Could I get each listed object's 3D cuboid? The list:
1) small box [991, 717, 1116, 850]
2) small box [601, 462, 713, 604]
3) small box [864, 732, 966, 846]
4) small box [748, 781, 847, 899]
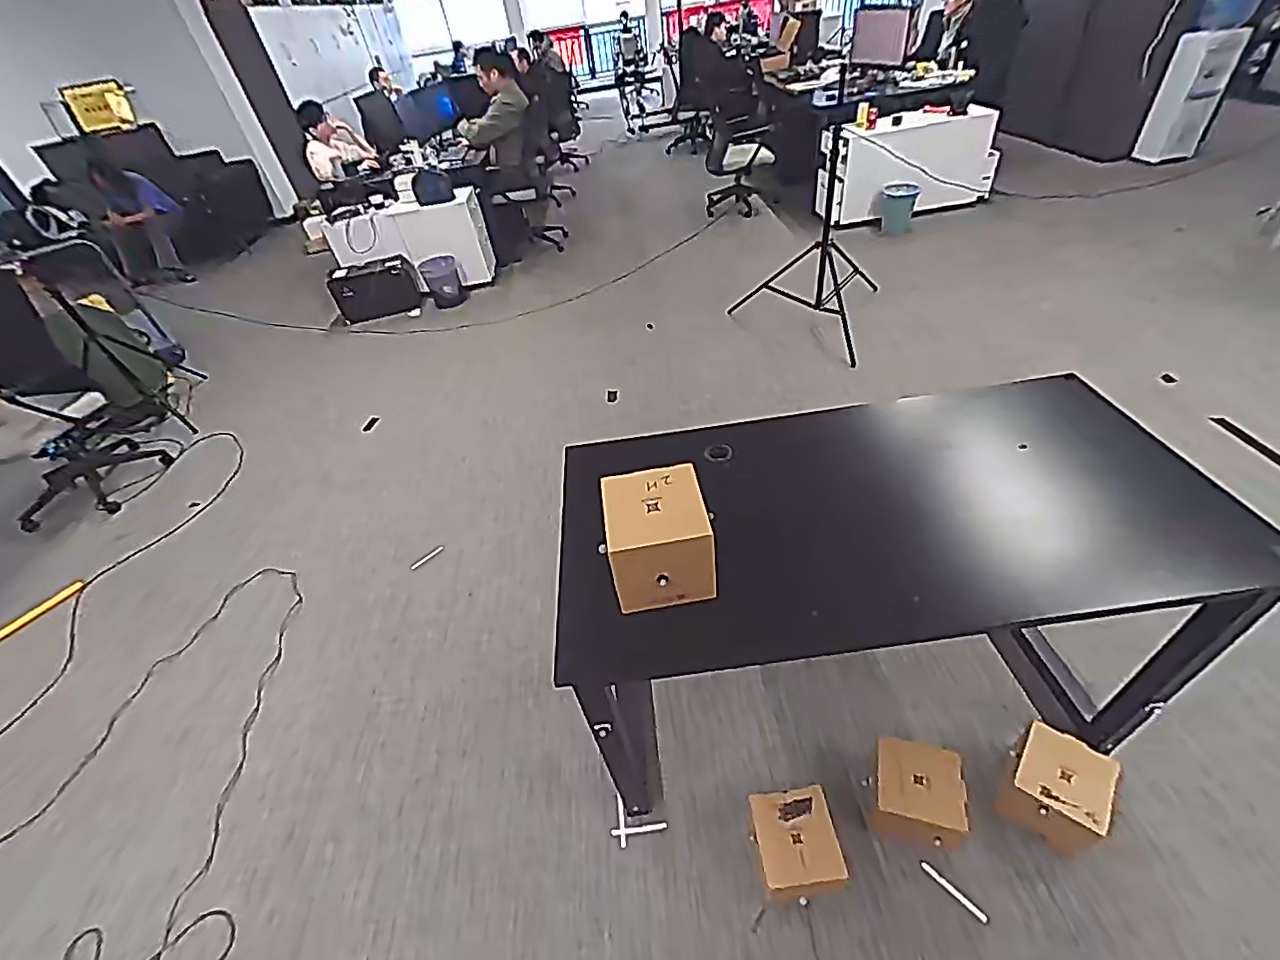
[{"bbox_3d":[0.925,0.684,1.220,0.168,0.176,0.179,24,53,32],"label":"small box"},{"bbox_3d":[0.030,0.098,0.943,0.168,0.176,0.179,-10,42,-1],"label":"small box"},{"bbox_3d":[0.625,0.716,1.248,0.179,0.176,0.168,5,44,18],"label":"small box"},{"bbox_3d":[0.339,0.803,1.206,0.168,0.176,0.179,-9,44,1],"label":"small box"}]
